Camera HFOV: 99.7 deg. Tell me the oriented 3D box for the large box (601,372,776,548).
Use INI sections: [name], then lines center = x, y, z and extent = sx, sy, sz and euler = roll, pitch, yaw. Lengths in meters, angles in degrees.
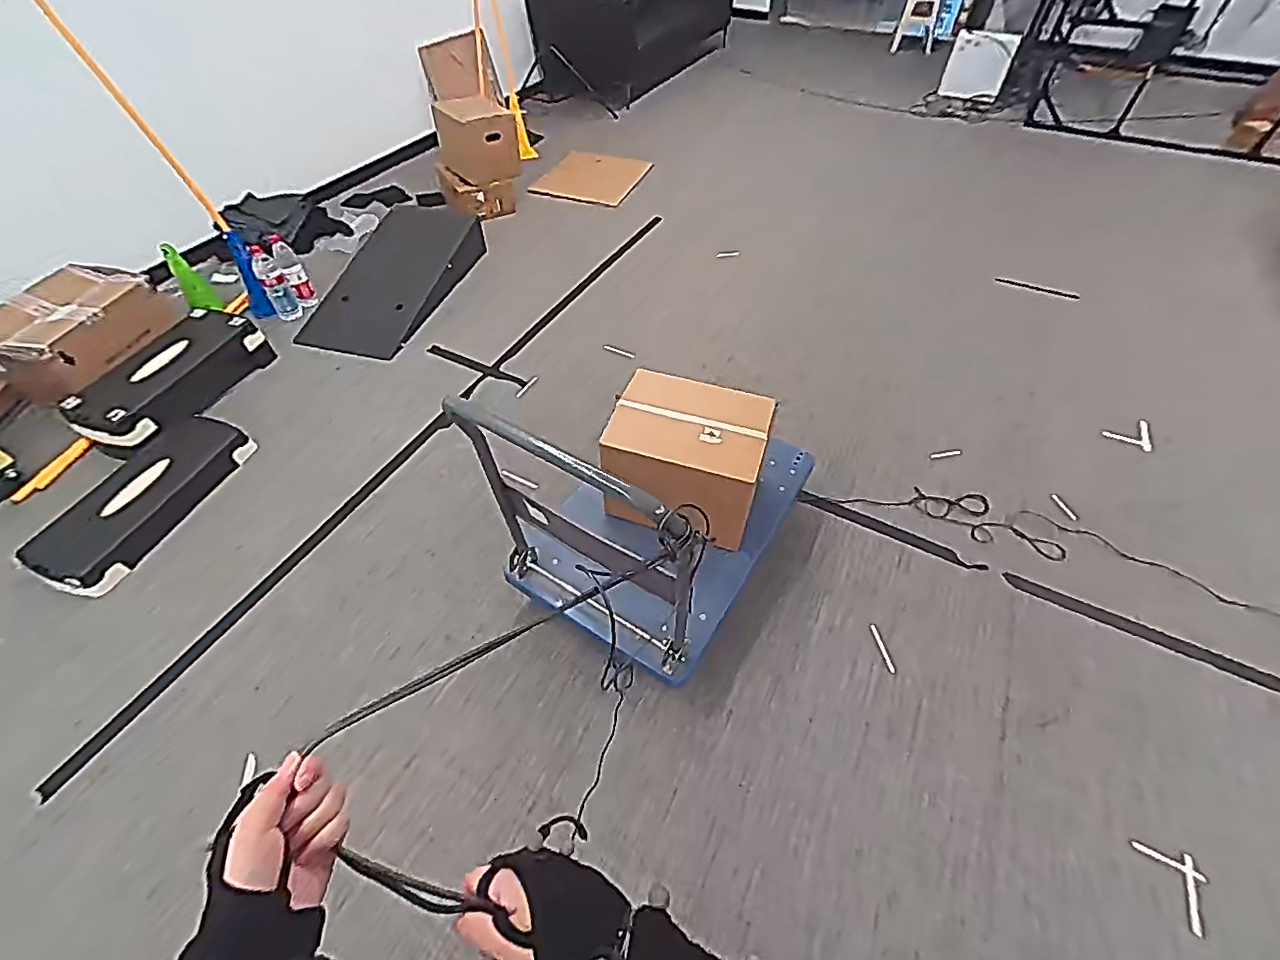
[large box]
center = 0.131, -0.056, 1.527
extent = 0.408, 0.320, 0.320
euler = 15, 53, 11
